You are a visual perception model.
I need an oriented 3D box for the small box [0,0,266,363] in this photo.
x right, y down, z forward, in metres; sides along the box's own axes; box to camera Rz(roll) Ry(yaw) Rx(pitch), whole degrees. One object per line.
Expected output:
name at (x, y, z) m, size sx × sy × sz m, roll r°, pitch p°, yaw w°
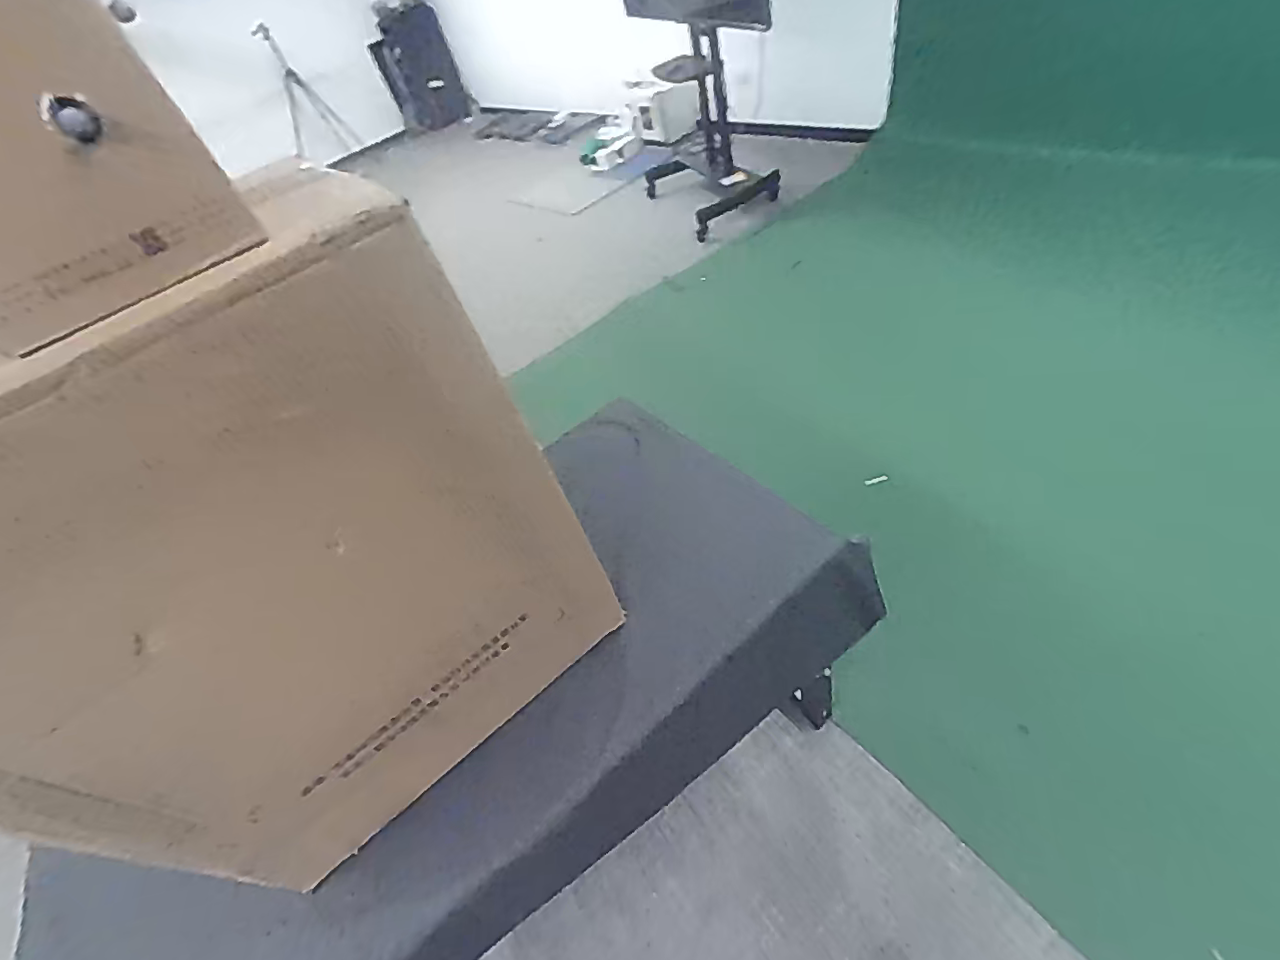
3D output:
small box at (-0.383, -0.201, 0.352) m, size 0.168 × 0.176 × 0.179 m, roll -36°, pitch 47°, yaw -17°
